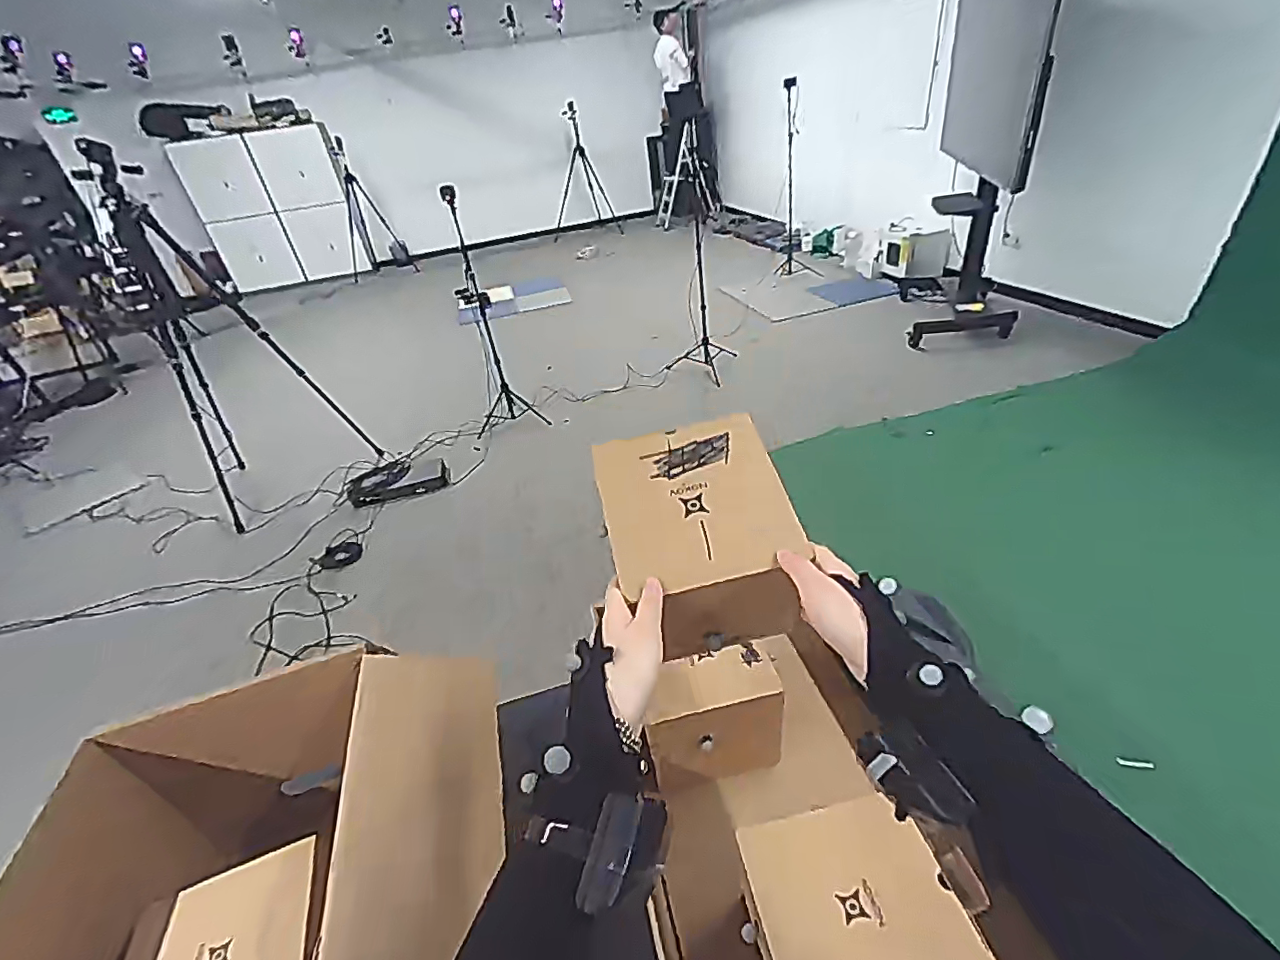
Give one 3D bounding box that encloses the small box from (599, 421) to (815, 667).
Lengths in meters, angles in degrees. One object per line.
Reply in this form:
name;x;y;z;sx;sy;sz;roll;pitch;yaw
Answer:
small box;0.059;0.070;0.564;0.168;0.176;0.179;-13;53;-3
